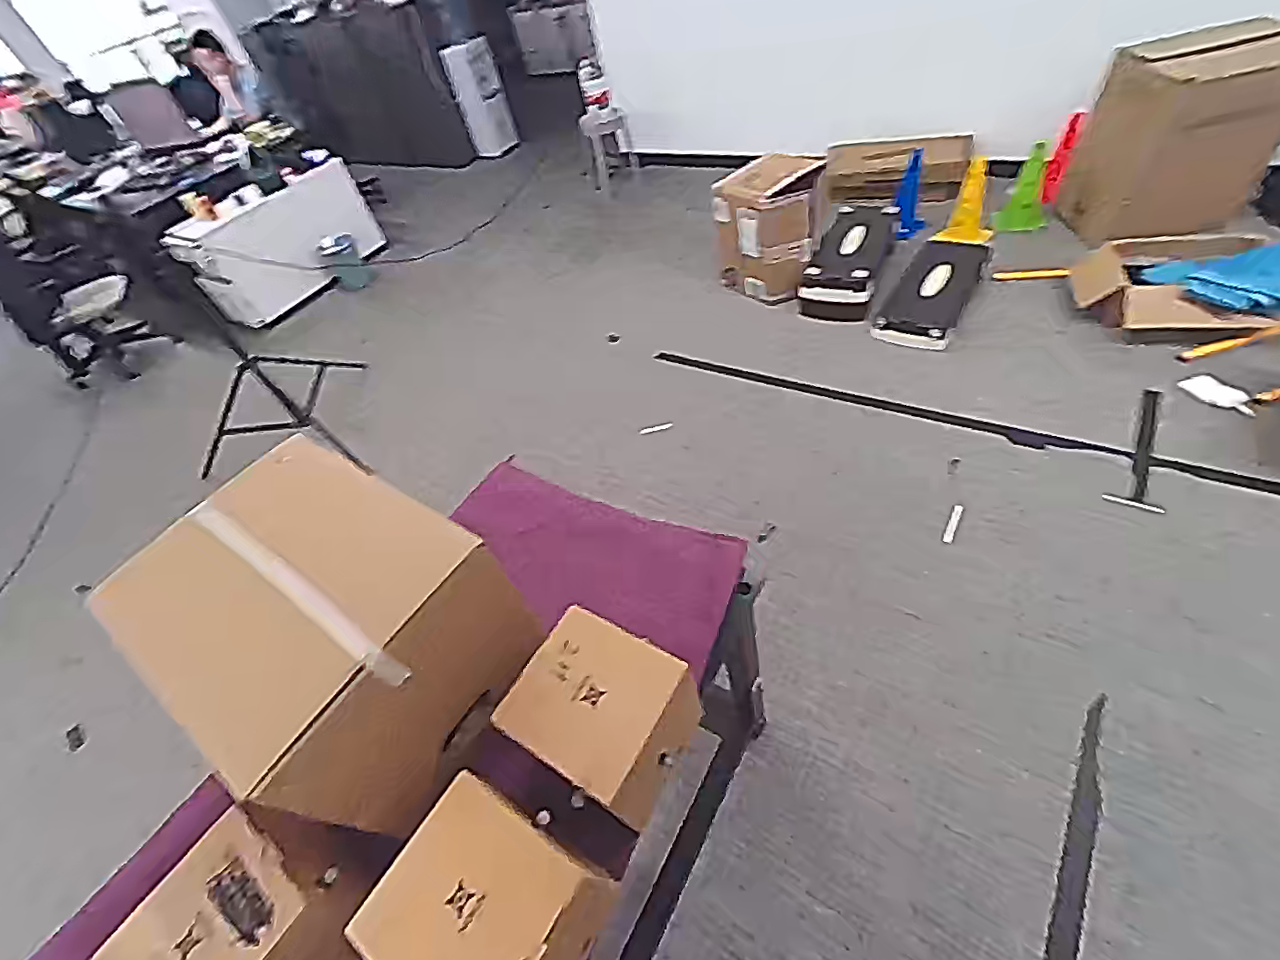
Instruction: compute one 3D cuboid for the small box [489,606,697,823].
[{"bbox_3d":[-0.045,0.293,0.672,0.179,0.176,0.168,20,57,29],"label":"small box"}]
